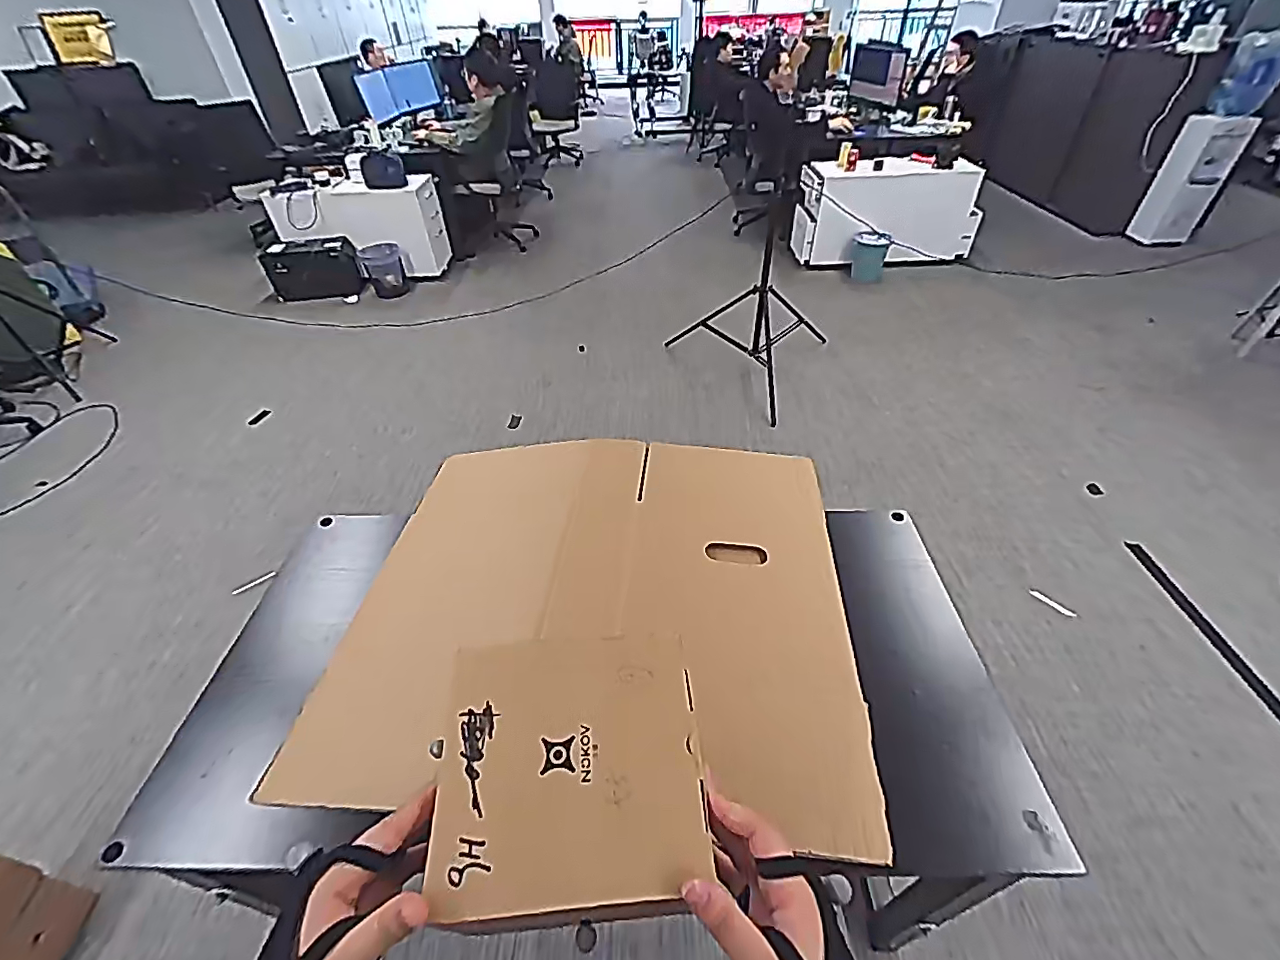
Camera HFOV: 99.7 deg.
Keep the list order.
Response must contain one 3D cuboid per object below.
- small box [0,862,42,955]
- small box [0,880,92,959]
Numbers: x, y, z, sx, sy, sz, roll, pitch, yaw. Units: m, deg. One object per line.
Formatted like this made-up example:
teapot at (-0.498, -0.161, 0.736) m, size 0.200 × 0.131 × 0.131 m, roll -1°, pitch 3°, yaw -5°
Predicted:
small box at (-1.330, 0.844, 1.029) m, size 0.168 × 0.176 × 0.179 m, roll -5°, pitch 41°, yaw -4°
small box at (-1.324, 0.969, 1.132) m, size 0.168 × 0.176 × 0.179 m, roll -4°, pitch 42°, yaw -2°
